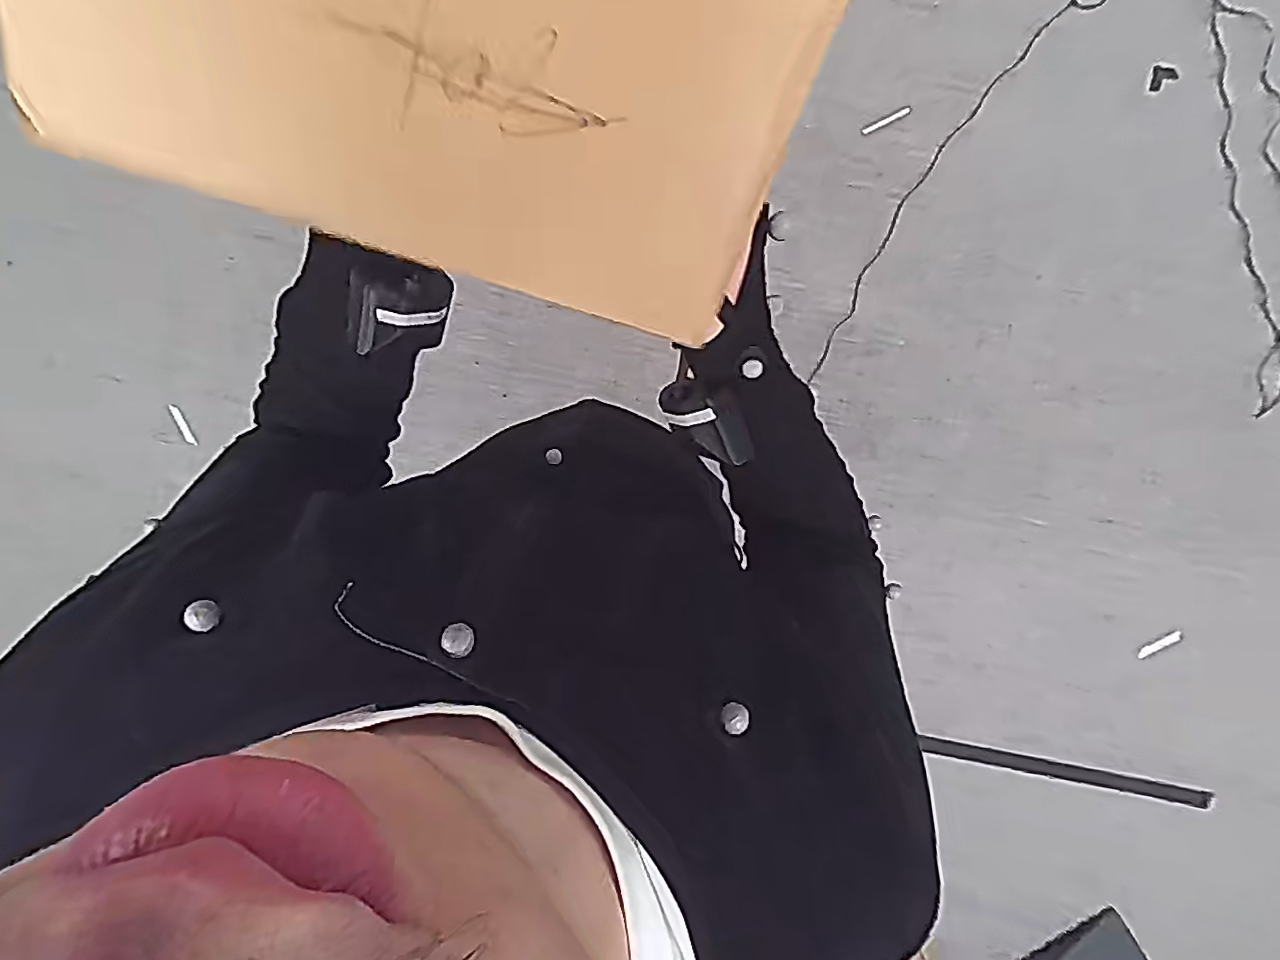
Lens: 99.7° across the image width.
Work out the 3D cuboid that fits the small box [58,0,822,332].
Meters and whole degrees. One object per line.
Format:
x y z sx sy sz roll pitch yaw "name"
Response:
-0.043 -0.177 0.181 0.168 0.176 0.179 11 121 -16 "small box"
